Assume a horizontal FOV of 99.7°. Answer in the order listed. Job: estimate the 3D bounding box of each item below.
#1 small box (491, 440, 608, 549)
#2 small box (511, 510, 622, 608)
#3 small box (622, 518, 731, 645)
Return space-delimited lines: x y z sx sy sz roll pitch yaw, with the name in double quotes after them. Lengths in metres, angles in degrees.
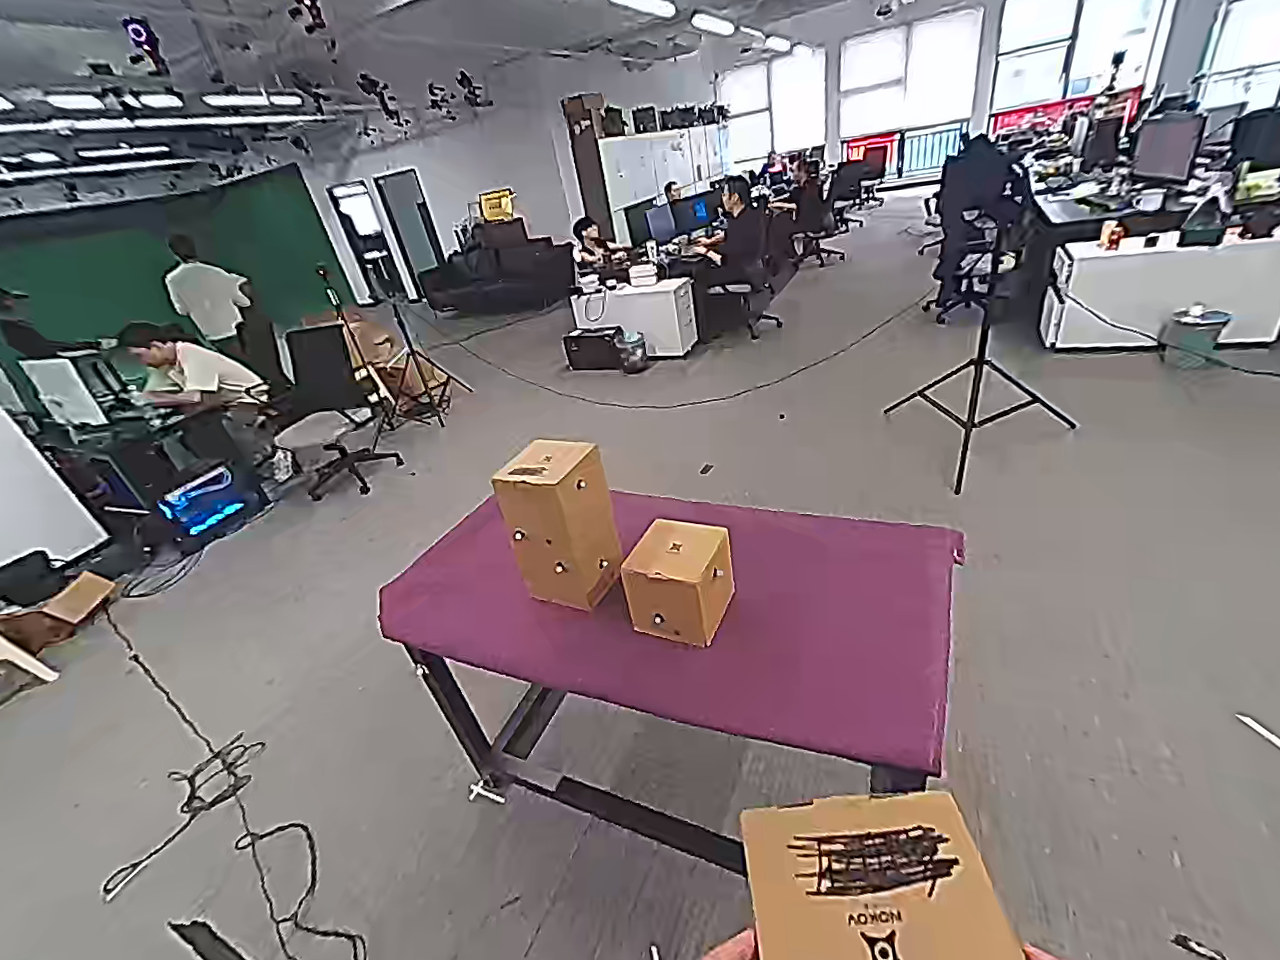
-0.186 0.029 1.174 0.168 0.176 0.179 5 34 26 "small box"
-0.161 0.172 1.252 0.179 0.176 0.168 6 34 28 "small box"
0.083 0.205 1.113 0.168 0.176 0.179 6 34 27 "small box"
